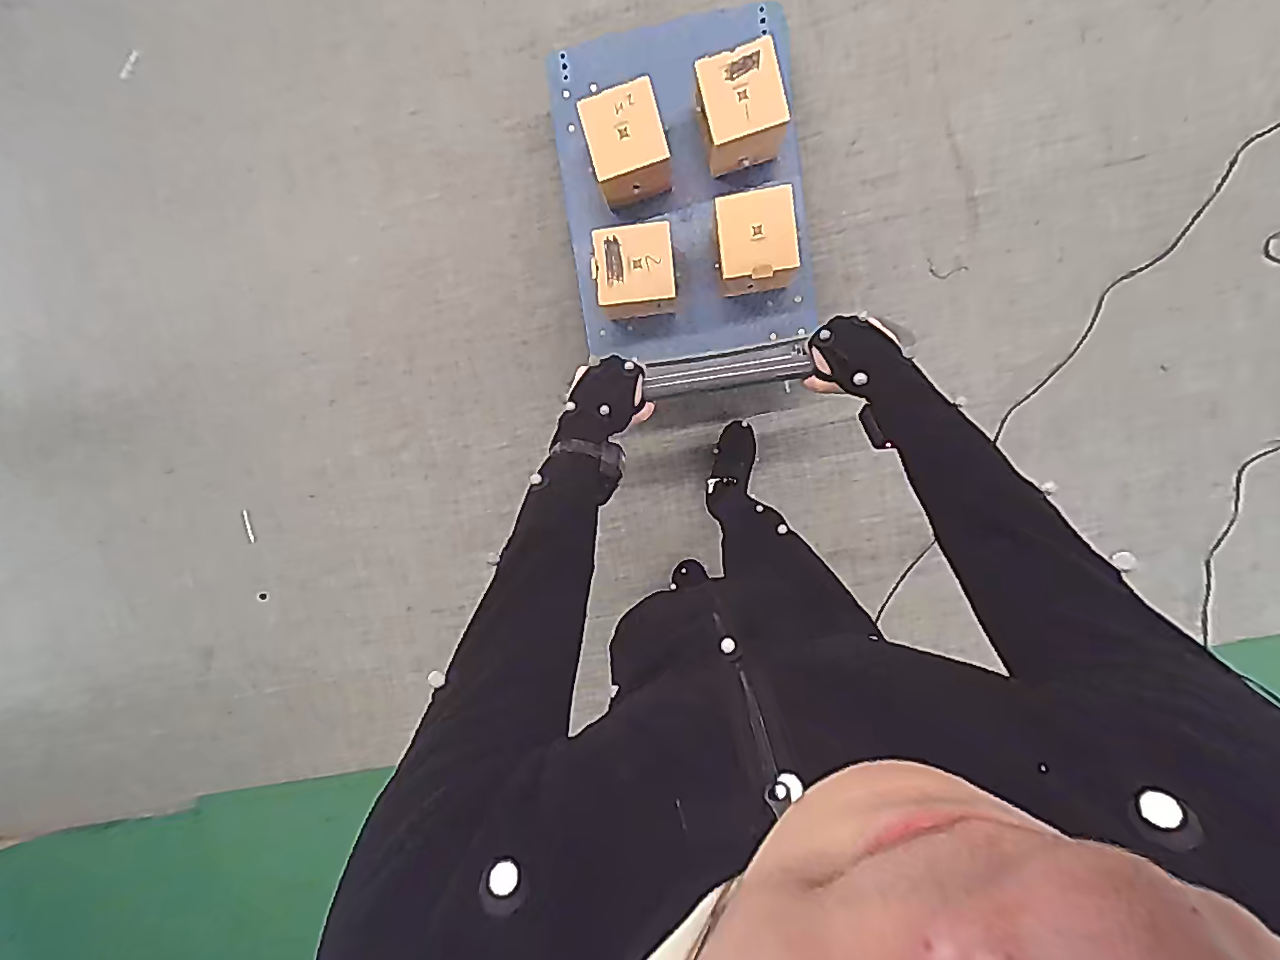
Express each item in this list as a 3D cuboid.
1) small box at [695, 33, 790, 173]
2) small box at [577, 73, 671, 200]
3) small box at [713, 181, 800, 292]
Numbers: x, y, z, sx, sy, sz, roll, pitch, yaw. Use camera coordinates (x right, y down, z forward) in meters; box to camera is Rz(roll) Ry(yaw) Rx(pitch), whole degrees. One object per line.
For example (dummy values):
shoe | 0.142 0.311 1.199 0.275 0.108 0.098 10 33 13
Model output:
small box | 0.221 -0.830 1.208 0.168 0.176 0.179 -15 96 8
small box | -0.029 -0.768 1.238 0.168 0.176 0.179 -16 95 6
small box | 0.260 -0.549 1.240 0.168 0.176 0.179 -8 97 6
